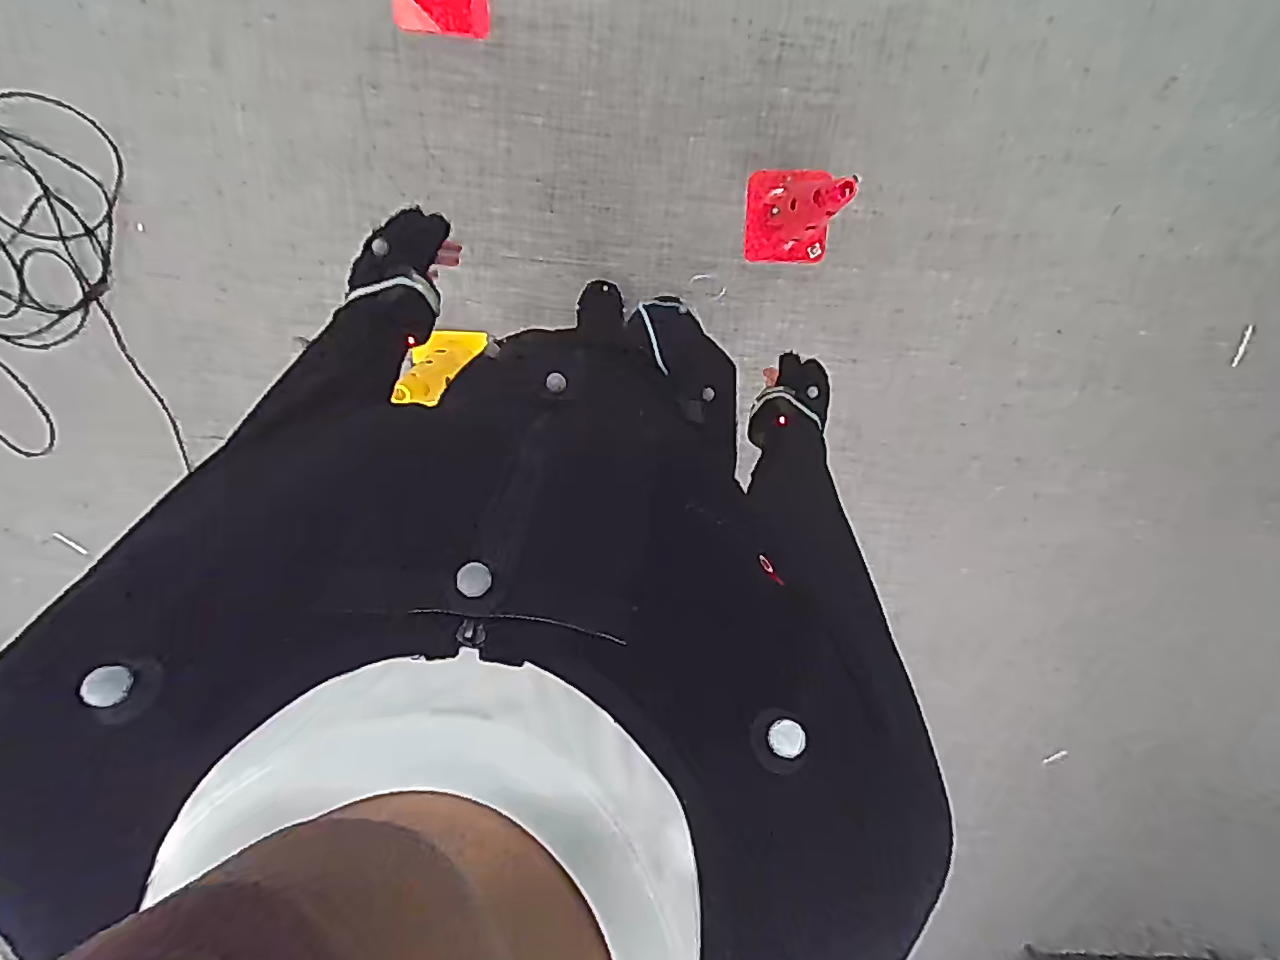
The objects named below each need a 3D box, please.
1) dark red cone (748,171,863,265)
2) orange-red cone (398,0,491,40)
[{"bbox_3d":[0.363,-0.565,1.115,0.202,0.394,0.201,-1,107,-1],"label":"dark red cone"},{"bbox_3d":[-0.409,-0.991,0.971,0.198,0.360,0.199,5,109,-2],"label":"orange-red cone"}]
